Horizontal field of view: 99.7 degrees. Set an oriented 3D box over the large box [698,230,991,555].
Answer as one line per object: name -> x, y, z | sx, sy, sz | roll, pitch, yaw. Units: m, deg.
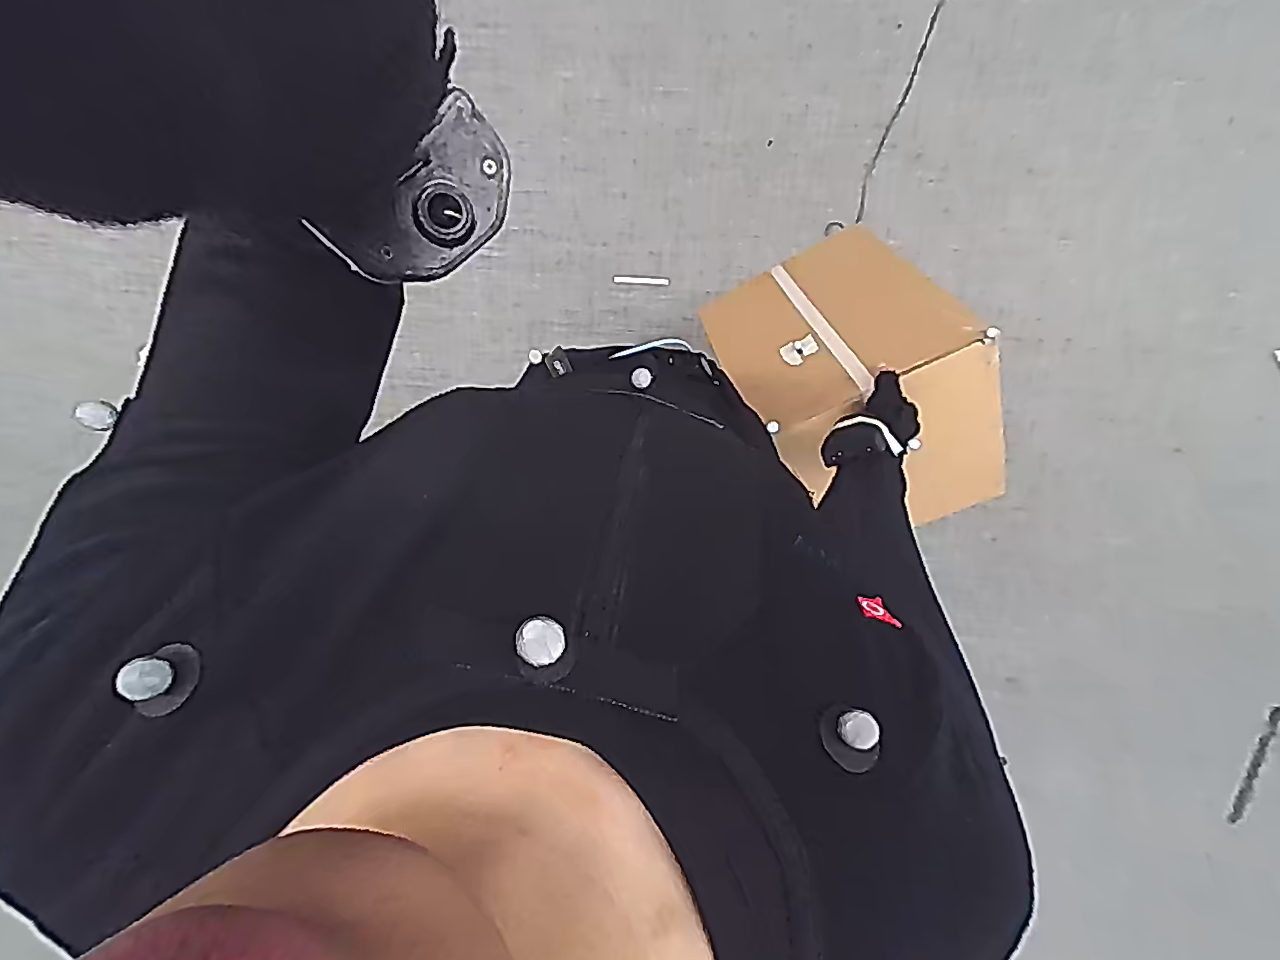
large box -> 0.332, -0.152, 0.930 | 0.320, 0.408, 0.320 | -25, 132, 14
